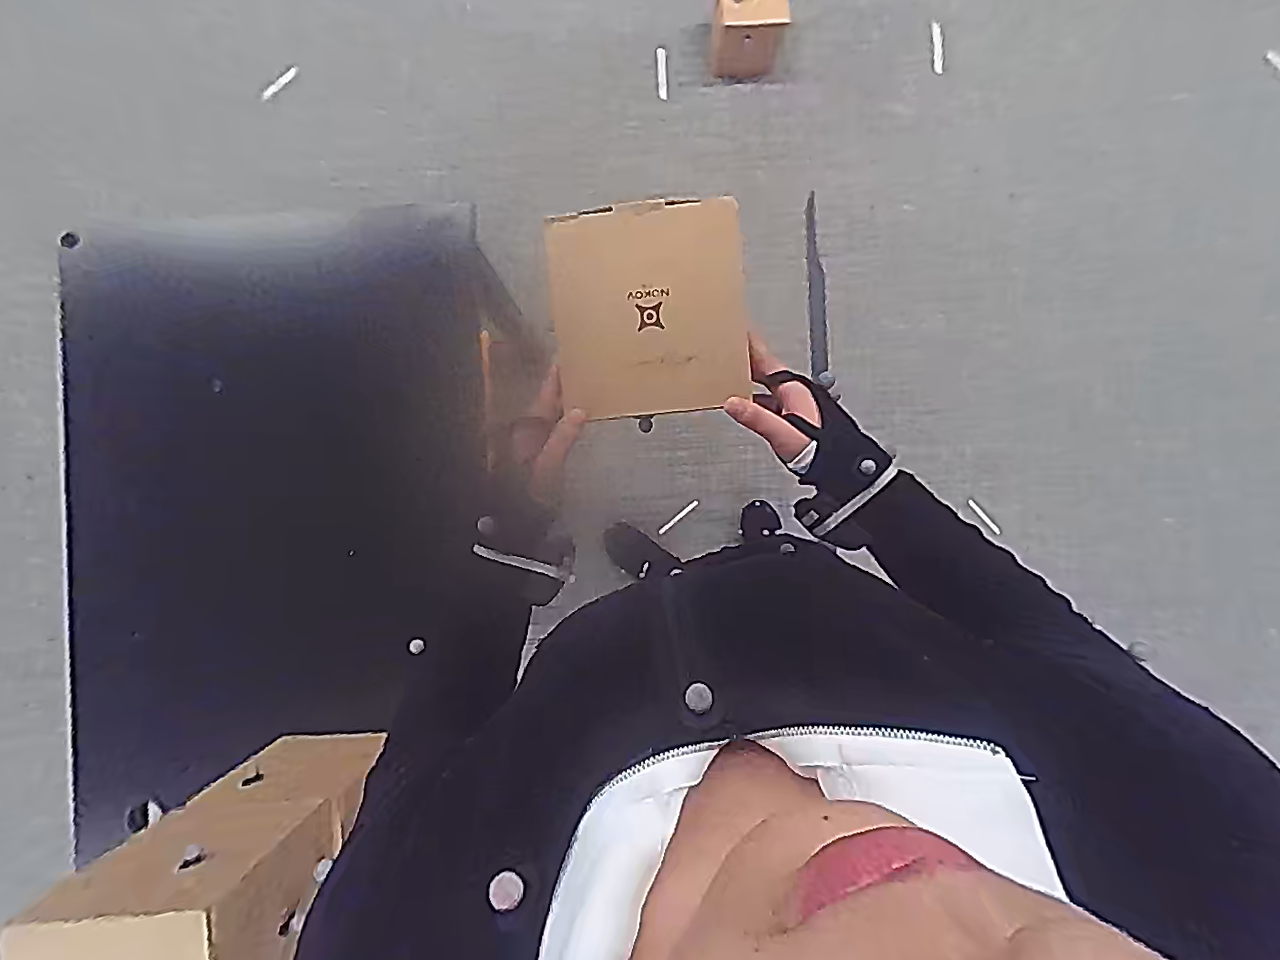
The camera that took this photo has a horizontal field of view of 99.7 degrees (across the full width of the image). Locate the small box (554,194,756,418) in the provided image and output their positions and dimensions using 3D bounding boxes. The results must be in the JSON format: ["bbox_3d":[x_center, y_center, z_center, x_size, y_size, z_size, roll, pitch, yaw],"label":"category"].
[{"bbox_3d":[0.014,-0.156,0.540,0.168,0.176,0.179,-5,97,2],"label":"small box"}]

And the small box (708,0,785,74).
[{"bbox_3d":[0.282,-1.247,1.471,0.179,0.176,0.168,-5,88,-1],"label":"small box"}]

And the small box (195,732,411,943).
[{"bbox_3d":[-0.413,0.438,0.686,0.179,0.176,0.168,-2,88,0],"label":"small box"}]

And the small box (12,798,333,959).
[{"bbox_3d":[-0.422,0.436,0.522,0.179,0.176,0.168,-5,88,-1],"label":"small box"}]
